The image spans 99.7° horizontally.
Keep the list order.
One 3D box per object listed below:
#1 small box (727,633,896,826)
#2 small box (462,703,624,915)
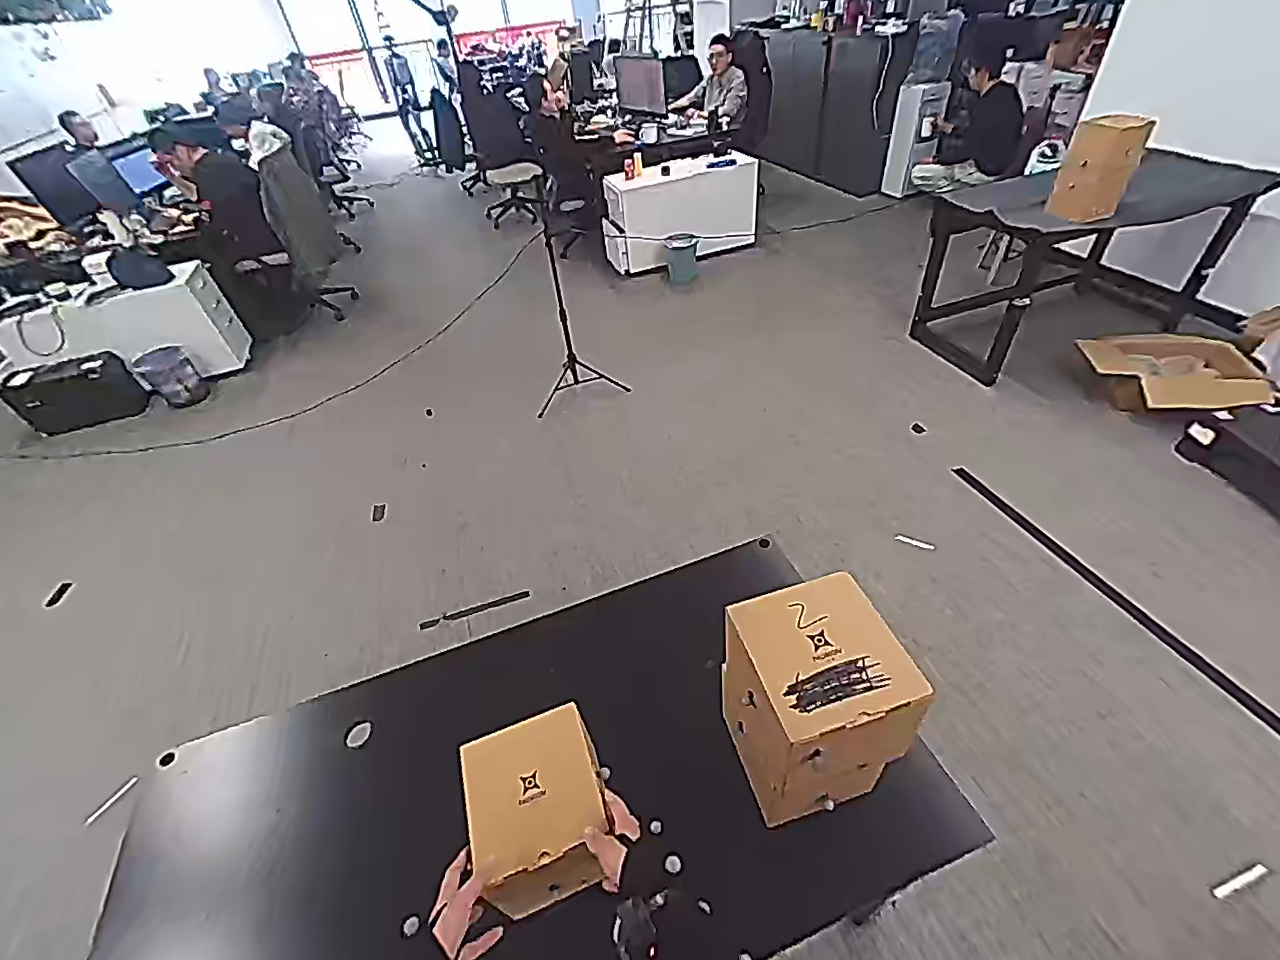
[{"bbox_3d":[0.230,0.357,0.778,0.168,0.176,0.179,-15,43,-6],"label":"small box"},{"bbox_3d":[-0.130,0.447,0.738,0.168,0.176,0.179,-18,44,-11],"label":"small box"}]
